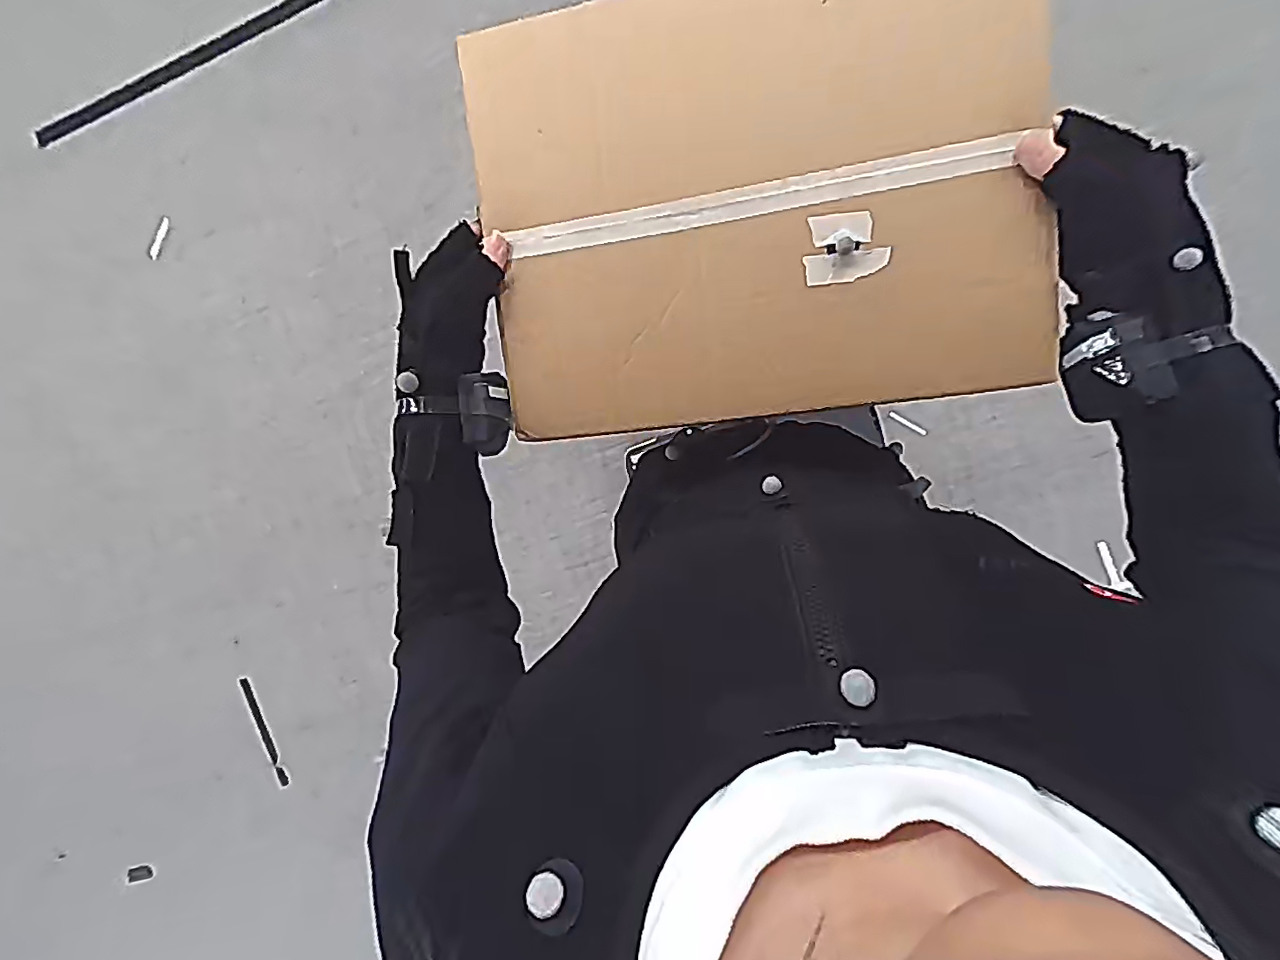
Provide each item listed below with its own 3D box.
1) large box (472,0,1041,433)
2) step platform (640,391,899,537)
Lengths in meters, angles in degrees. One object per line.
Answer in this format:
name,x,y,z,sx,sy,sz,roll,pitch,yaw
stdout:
large box,0.101,-0.233,0.554,0.408,0.320,0.320,-6,98,10
step platform,0.345,-0.081,1.513,0.684,0.204,0.286,-21,94,6
